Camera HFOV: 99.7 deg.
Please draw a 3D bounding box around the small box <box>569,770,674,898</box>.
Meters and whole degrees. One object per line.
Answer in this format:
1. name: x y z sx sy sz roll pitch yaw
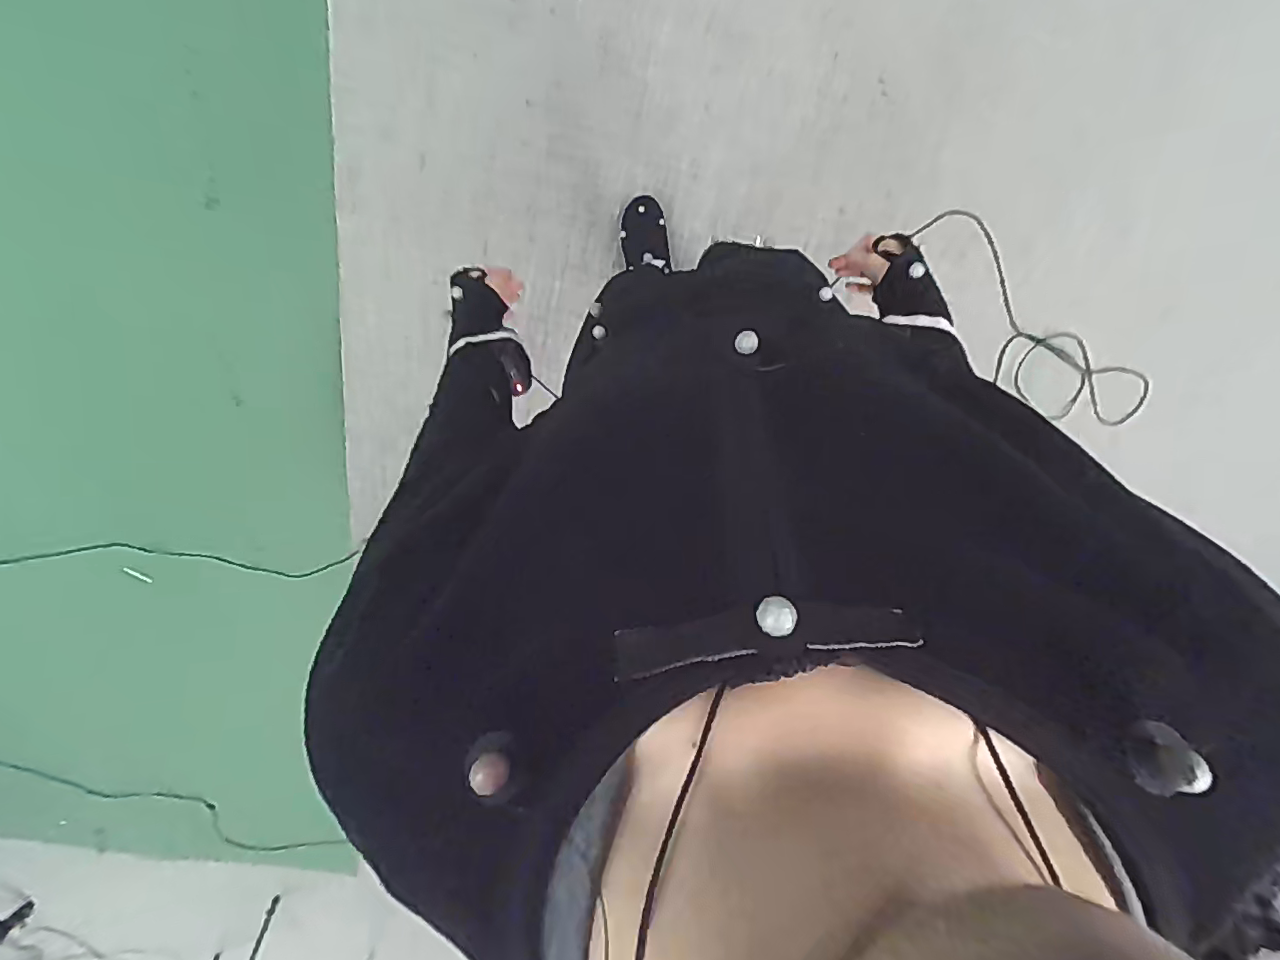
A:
1. small box: -0.039 0.708 1.079 0.179 0.176 0.168 8 118 -6
